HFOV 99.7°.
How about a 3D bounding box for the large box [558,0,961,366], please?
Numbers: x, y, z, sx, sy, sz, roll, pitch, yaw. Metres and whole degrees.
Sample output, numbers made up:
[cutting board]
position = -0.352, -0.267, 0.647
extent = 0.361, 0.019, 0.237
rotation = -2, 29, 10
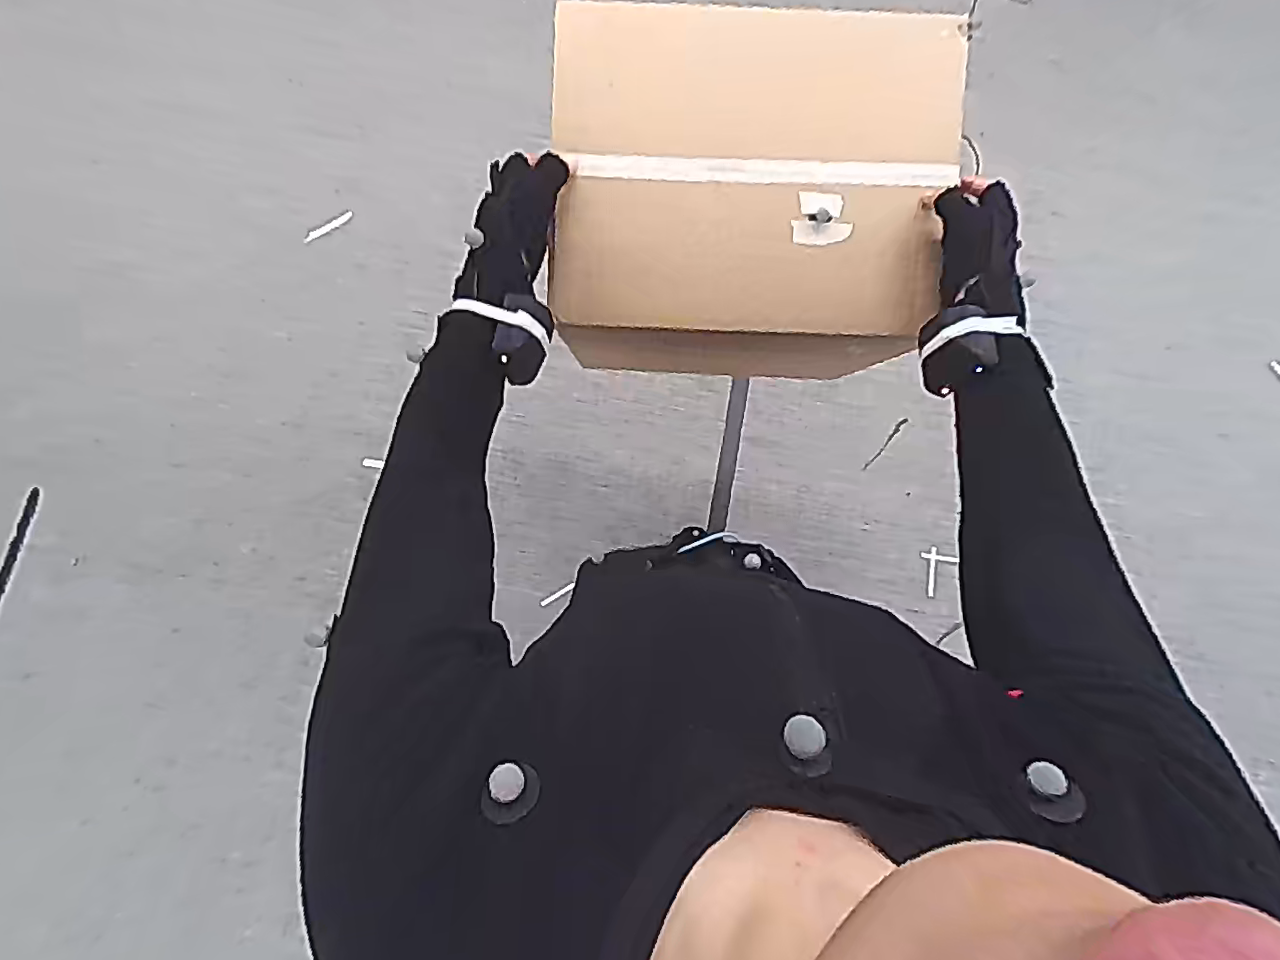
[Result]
[large box]
position = 0.115, -0.328, 0.694
extent = 0.408, 0.320, 0.320
rotation = 3, 94, 0
